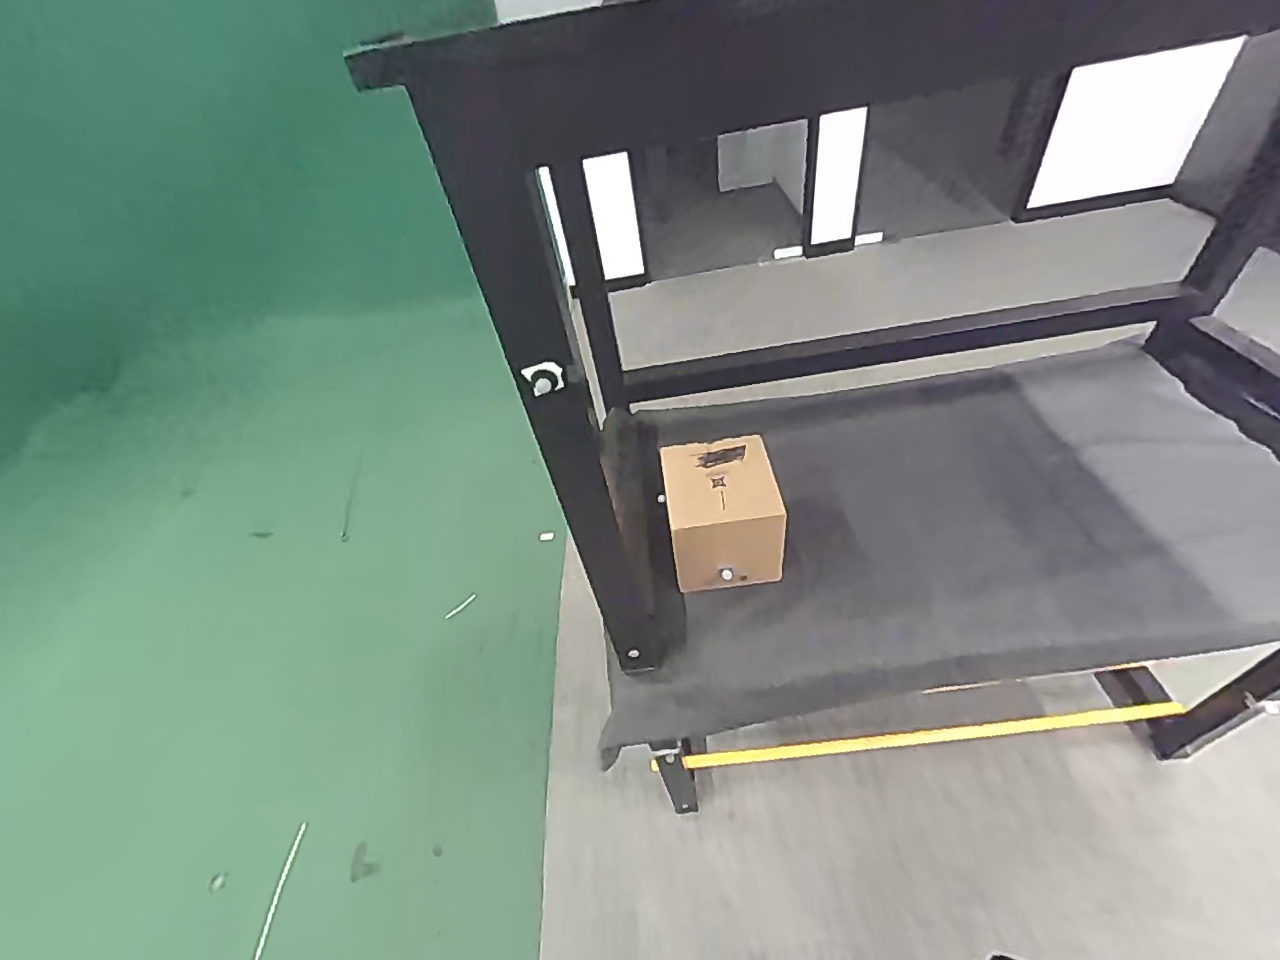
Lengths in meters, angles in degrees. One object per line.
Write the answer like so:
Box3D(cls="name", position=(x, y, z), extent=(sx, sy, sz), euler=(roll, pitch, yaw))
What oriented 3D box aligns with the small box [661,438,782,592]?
Box3D(cls="small box", position=(0.127, 0.058, 0.883), extent=(0.168, 0.176, 0.179), euler=(-8, 45, 3))
